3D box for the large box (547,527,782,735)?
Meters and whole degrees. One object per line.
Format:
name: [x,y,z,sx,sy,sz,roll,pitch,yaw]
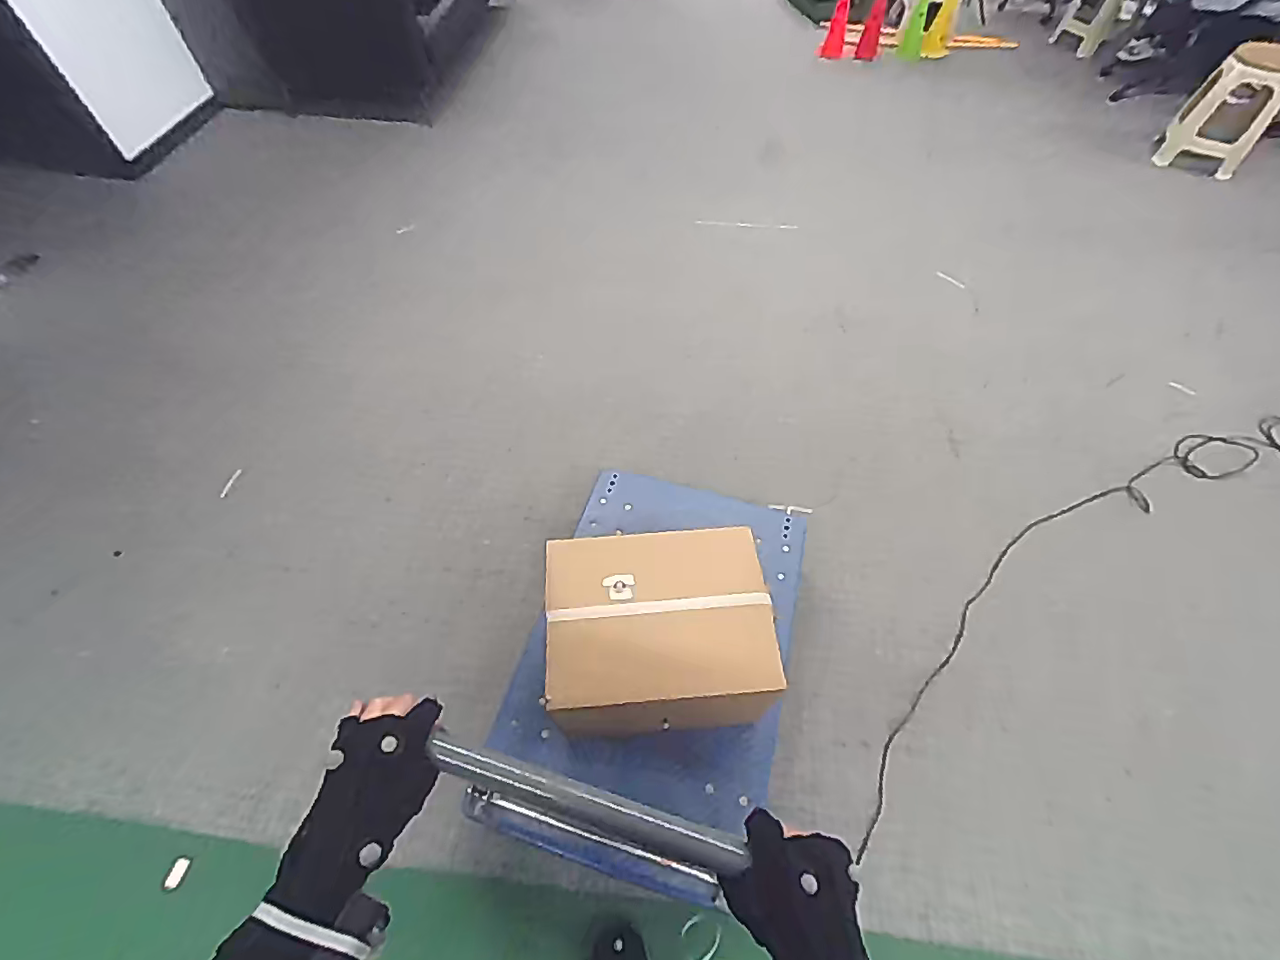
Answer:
large box: [0.035,0.320,1.112,0.408,0.320,0.320,-5,56,-2]
